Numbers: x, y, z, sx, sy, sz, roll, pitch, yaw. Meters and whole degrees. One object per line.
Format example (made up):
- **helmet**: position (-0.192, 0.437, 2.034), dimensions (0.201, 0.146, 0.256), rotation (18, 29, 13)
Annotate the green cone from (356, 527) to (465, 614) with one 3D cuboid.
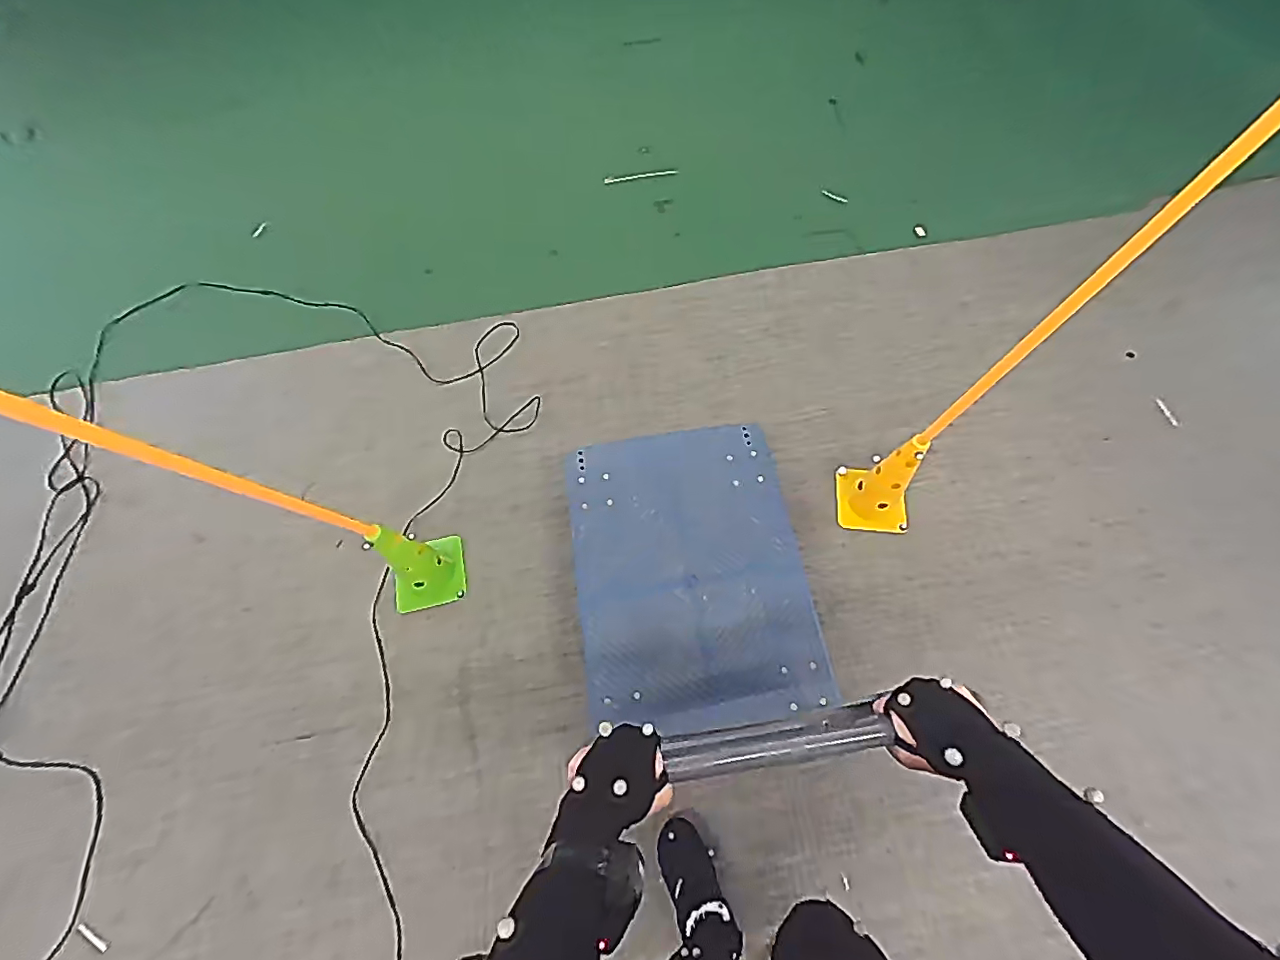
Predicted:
- **green cone**: position (-0.628, 0.200, 1.425), dimensions (0.202, 0.368, 0.200), rotation (-15, 64, -3)
